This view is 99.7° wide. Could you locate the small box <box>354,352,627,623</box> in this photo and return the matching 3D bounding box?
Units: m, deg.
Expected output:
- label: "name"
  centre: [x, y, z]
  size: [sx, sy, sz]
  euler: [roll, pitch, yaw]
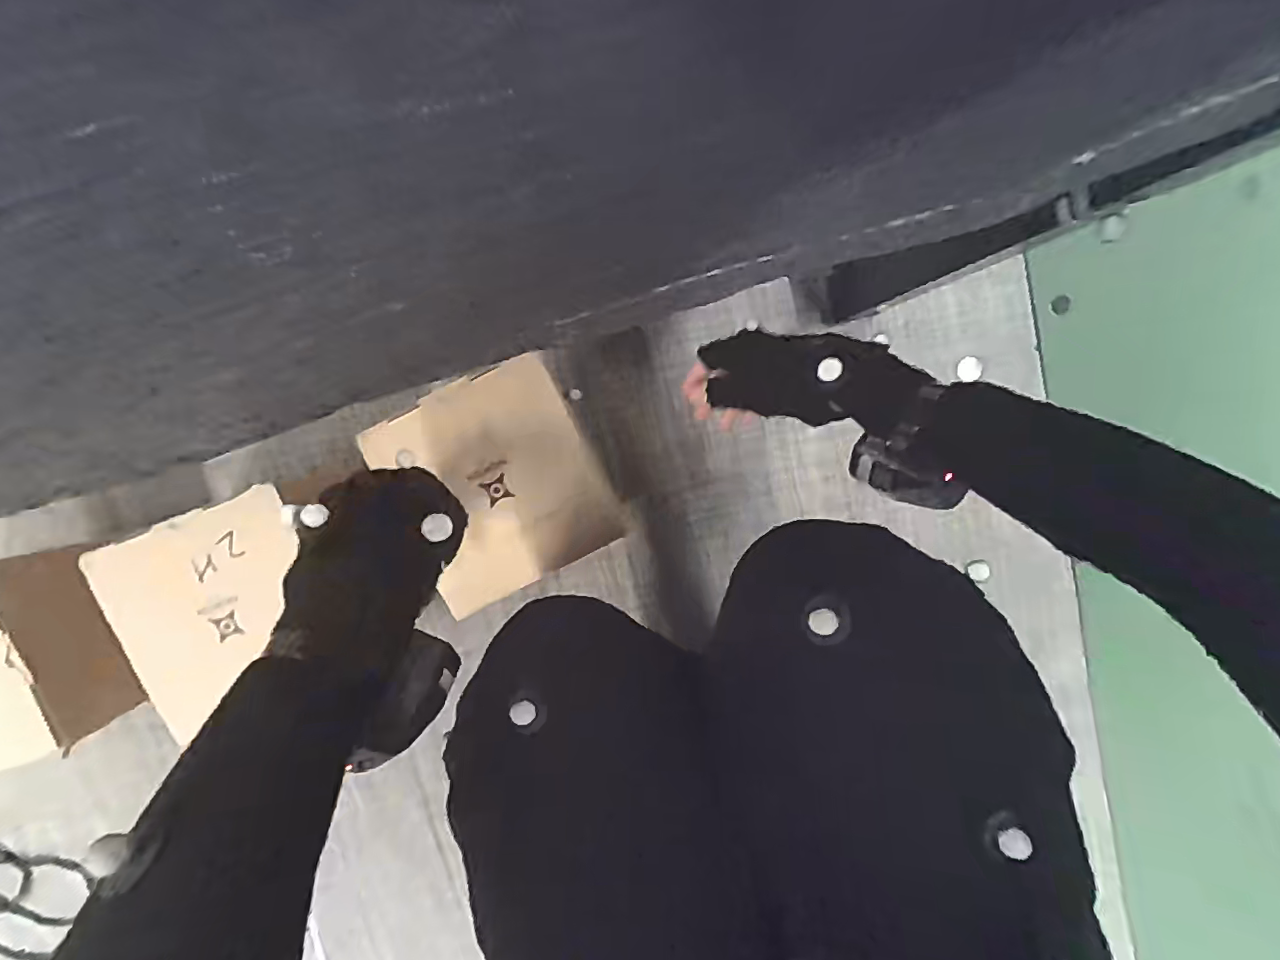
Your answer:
- label: "small box"
  centre: [-0.124, 0.001, 0.517]
  size: [0.168, 0.176, 0.179]
  euler: [-26, 97, 1]
